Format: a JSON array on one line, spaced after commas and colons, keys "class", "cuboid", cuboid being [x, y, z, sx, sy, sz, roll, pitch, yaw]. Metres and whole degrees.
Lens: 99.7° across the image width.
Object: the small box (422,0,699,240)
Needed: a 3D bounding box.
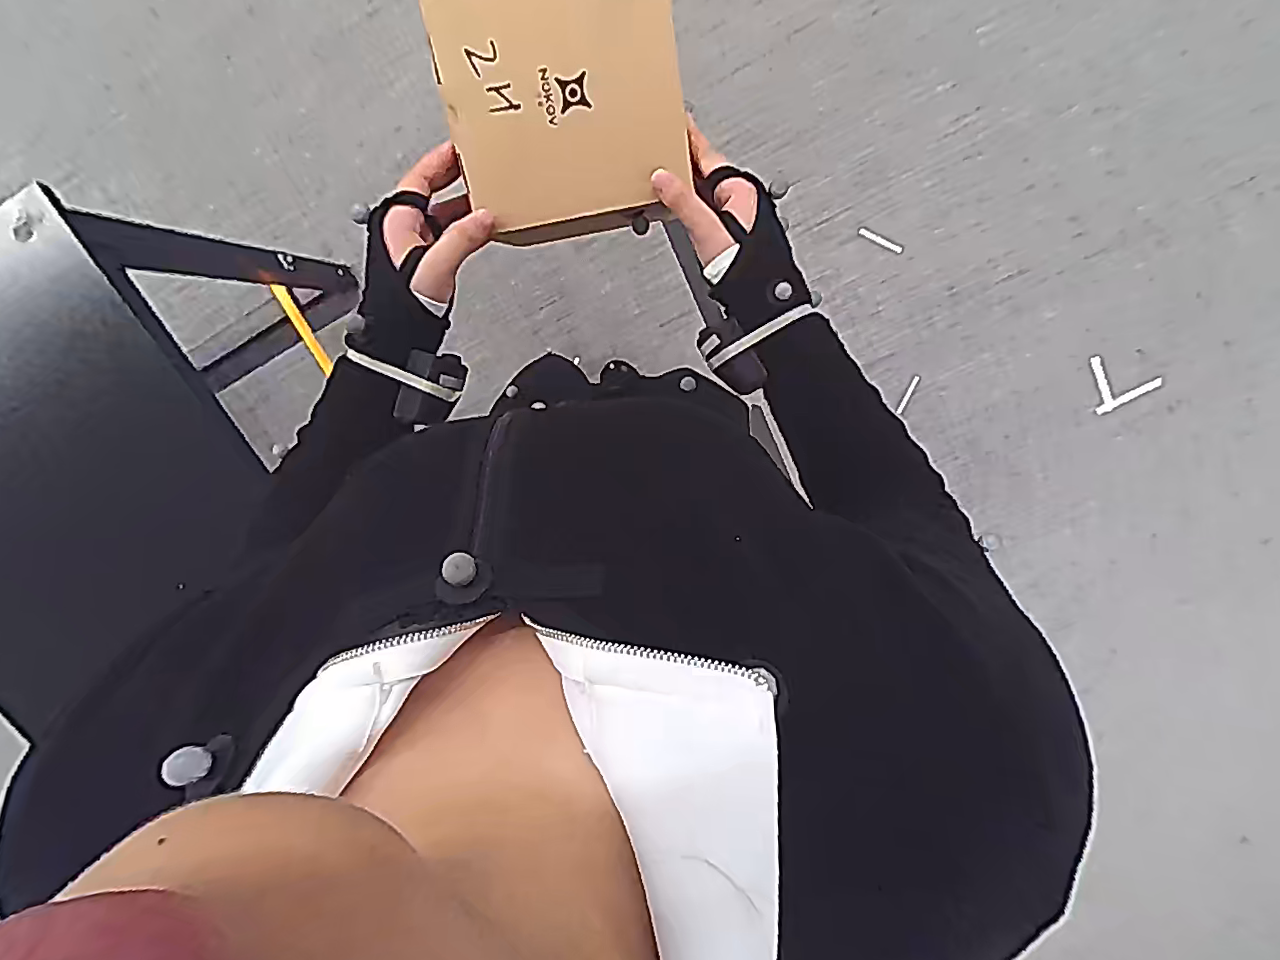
[{"class": "small box", "cuboid": [-0.053, -0.308, 0.460, 0.179, 0.176, 0.168, -9, 111, 4]}]
